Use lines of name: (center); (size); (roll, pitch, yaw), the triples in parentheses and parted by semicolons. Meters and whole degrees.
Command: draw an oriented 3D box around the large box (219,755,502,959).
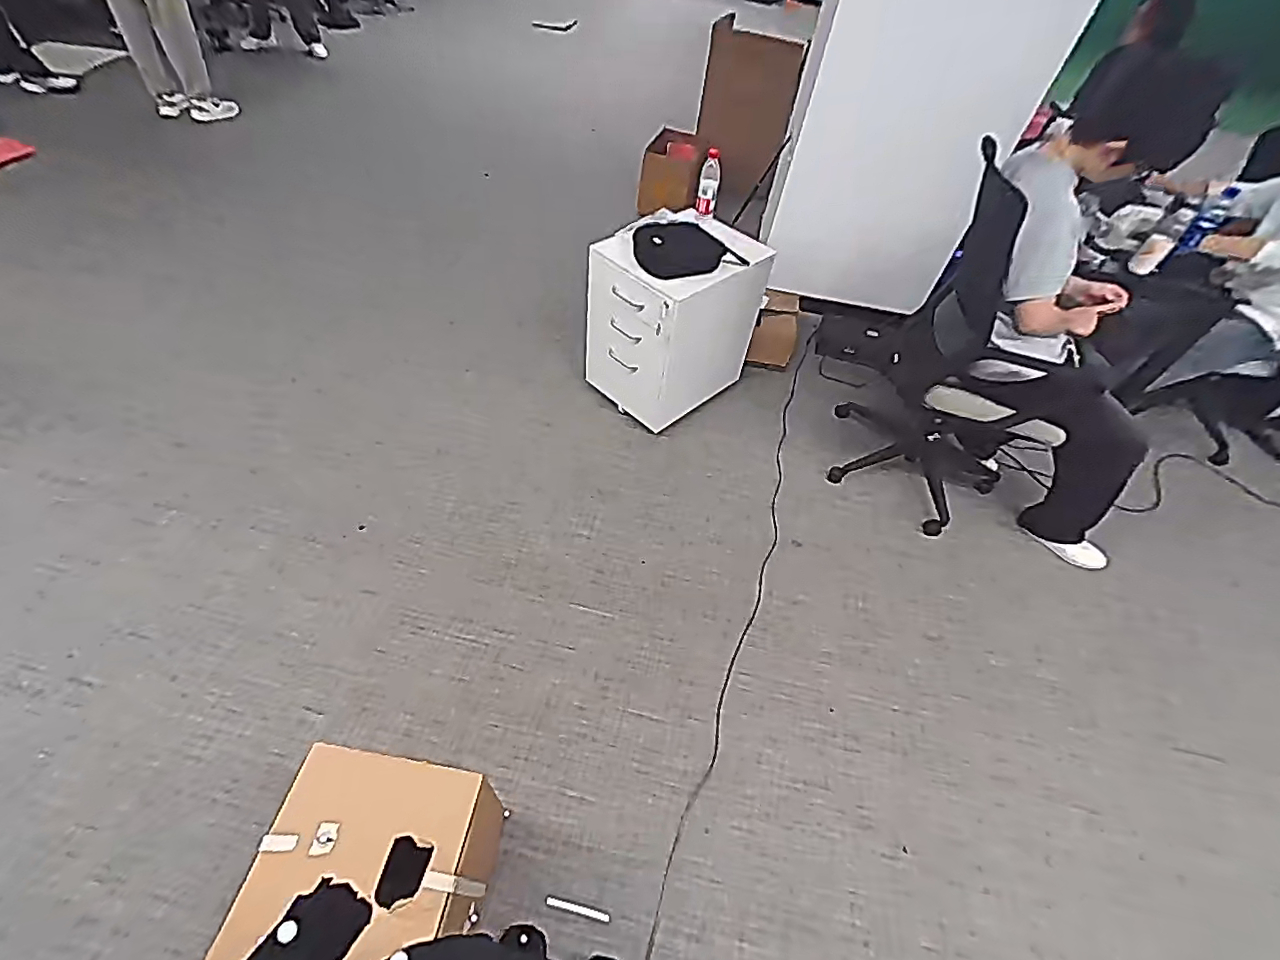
large box: (-0.469, 0.739, 1.010); (0.320, 0.408, 0.320); (12, 52, 1)
